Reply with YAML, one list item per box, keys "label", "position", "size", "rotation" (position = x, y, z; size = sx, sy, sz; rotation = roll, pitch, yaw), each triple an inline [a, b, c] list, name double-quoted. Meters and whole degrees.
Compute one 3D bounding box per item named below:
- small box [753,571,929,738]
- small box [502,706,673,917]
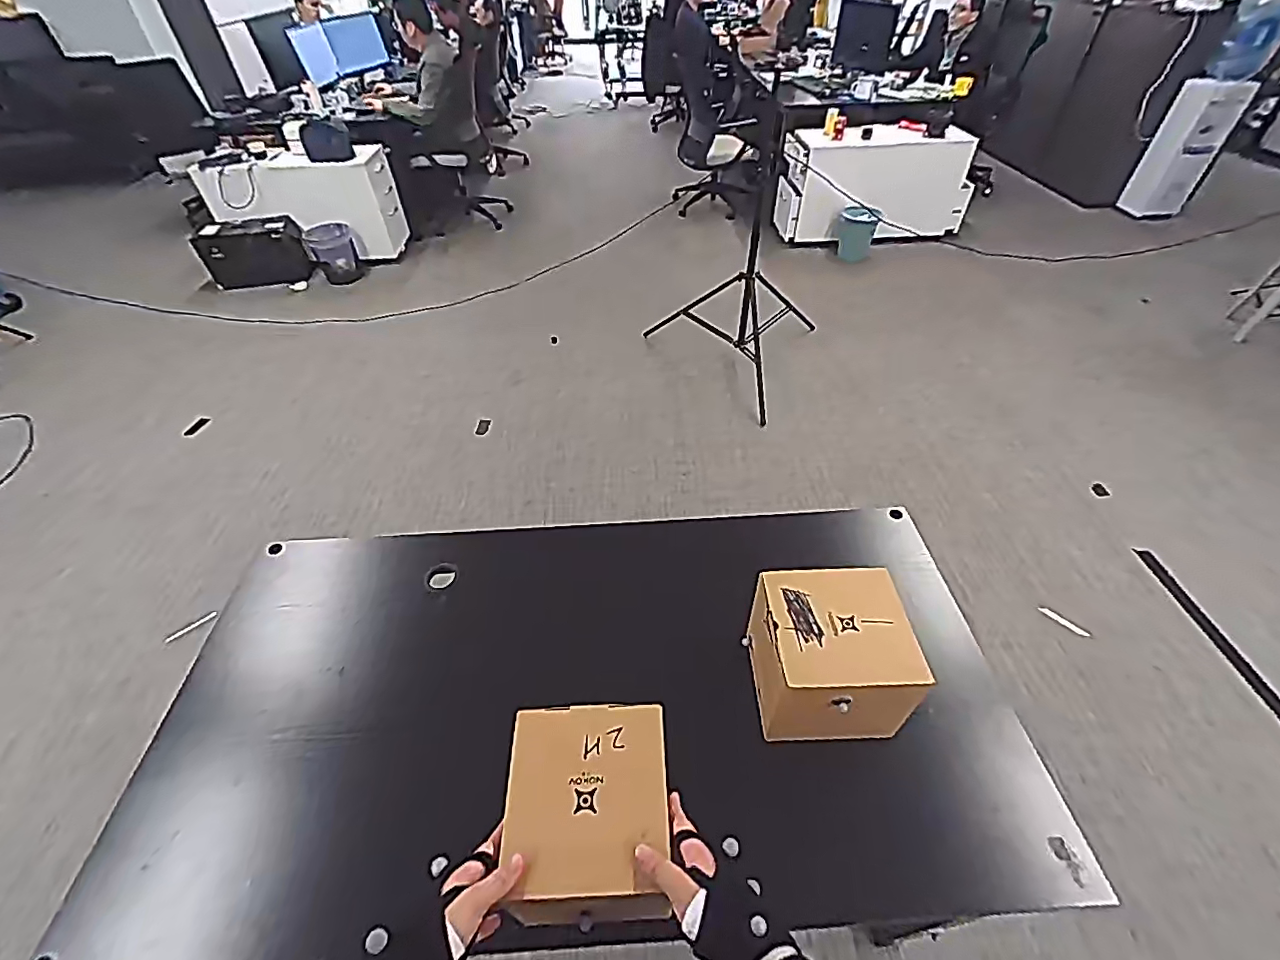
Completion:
- label: "small box"
  position: [0.257, 0.243, 0.746]
  size: [0.179, 0.176, 0.168]
  rotation: [-2, 45, 0]
- label: "small box"
  position: [-0.048, 0.381, 0.618]
  size: [0.168, 0.176, 0.179]
  rotation: [-2, 45, -1]
